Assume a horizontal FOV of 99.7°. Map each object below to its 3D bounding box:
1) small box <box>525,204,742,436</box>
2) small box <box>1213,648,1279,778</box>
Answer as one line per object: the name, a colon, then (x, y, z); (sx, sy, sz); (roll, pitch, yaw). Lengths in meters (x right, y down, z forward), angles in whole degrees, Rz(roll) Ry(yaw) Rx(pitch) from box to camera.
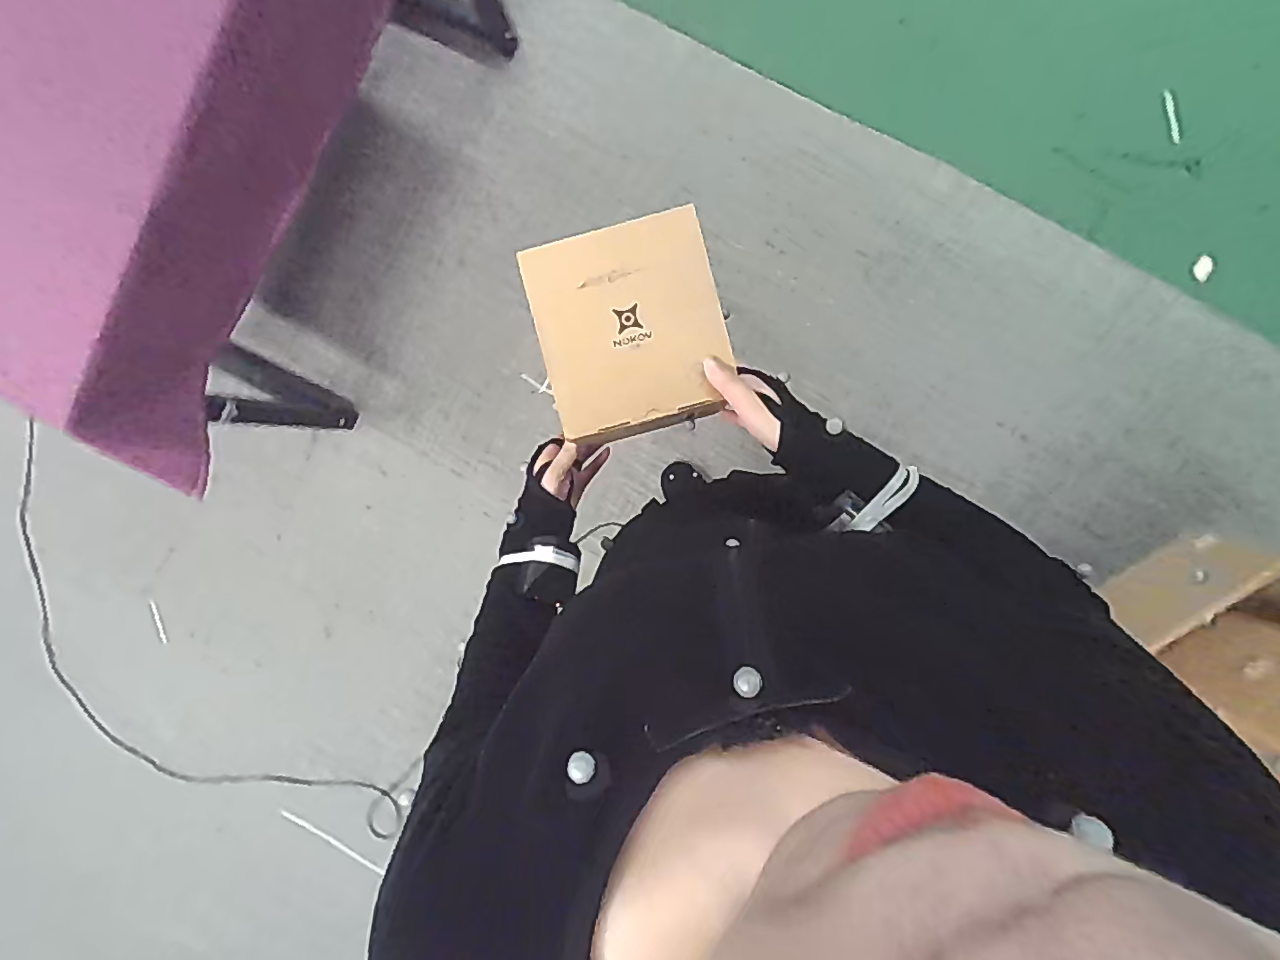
small box: (-0.004, -0.145, 0.559); (0.168, 0.176, 0.179); (-13, 91, 1)
small box: (0.950, 0.331, 0.713); (0.179, 0.176, 0.168); (-39, 89, 7)
